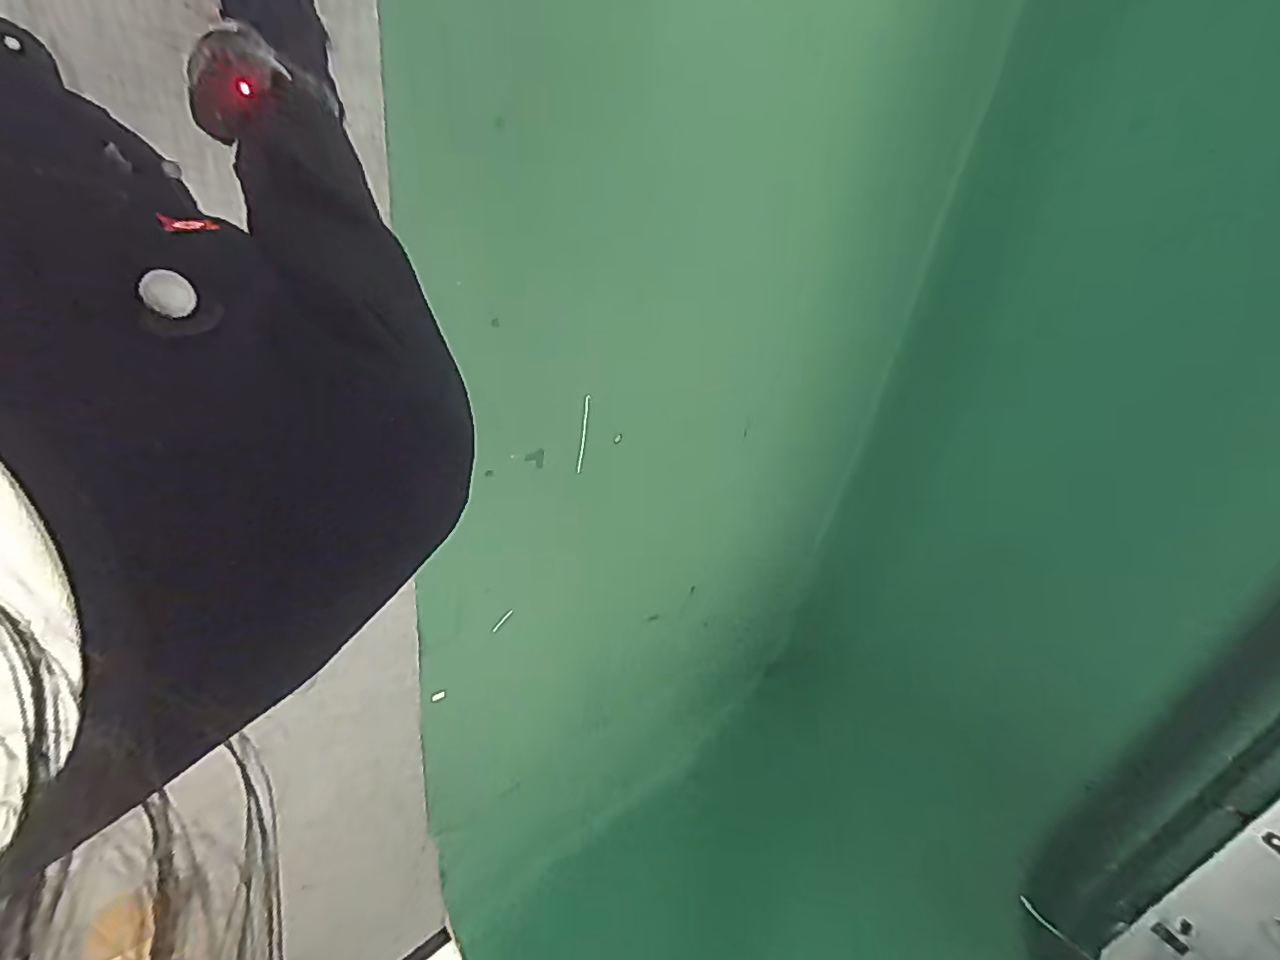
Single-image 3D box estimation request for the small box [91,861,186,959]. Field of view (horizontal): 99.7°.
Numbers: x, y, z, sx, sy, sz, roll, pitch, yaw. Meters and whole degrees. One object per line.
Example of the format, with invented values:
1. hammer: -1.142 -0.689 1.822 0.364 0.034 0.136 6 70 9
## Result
1. small box: -1.500 1.302 1.619 0.179 0.176 0.168 -16 127 -41
